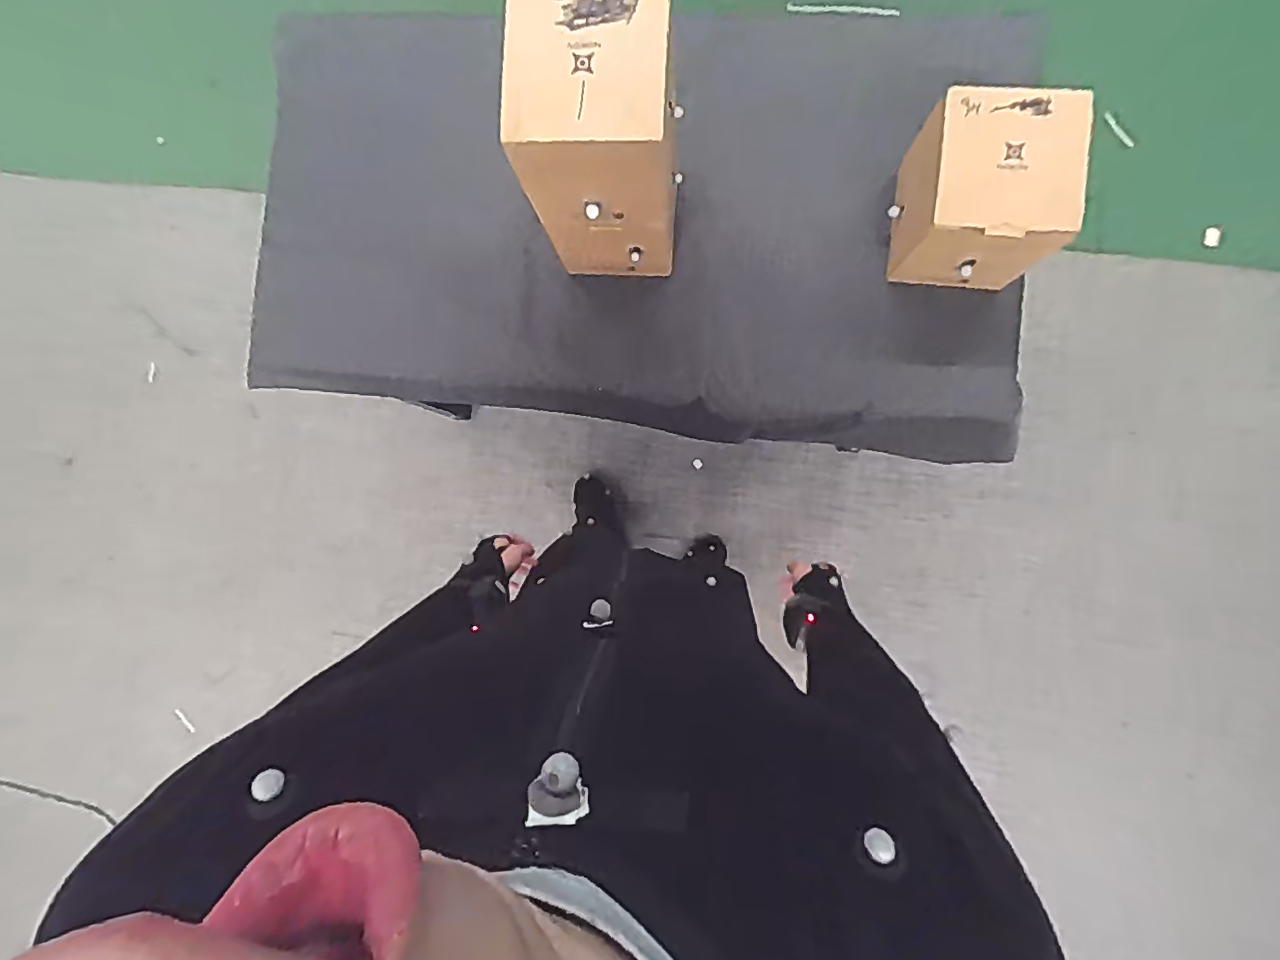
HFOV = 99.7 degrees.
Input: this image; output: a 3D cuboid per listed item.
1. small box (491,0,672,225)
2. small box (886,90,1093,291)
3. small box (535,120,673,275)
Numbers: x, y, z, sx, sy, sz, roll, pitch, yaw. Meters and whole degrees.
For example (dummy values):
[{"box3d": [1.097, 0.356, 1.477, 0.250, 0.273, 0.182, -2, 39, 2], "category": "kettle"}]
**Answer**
[{"box3d": [-0.052, -0.411, 0.598, 0.168, 0.176, 0.179, 3, 89, 4], "category": "small box"}, {"box3d": [0.442, -0.367, 0.714, 0.168, 0.176, 0.179, 7, 89, 6], "category": "small box"}, {"box3d": [-0.041, -0.407, 0.761, 0.168, 0.176, 0.179, 4, 87, 4], "category": "small box"}]
